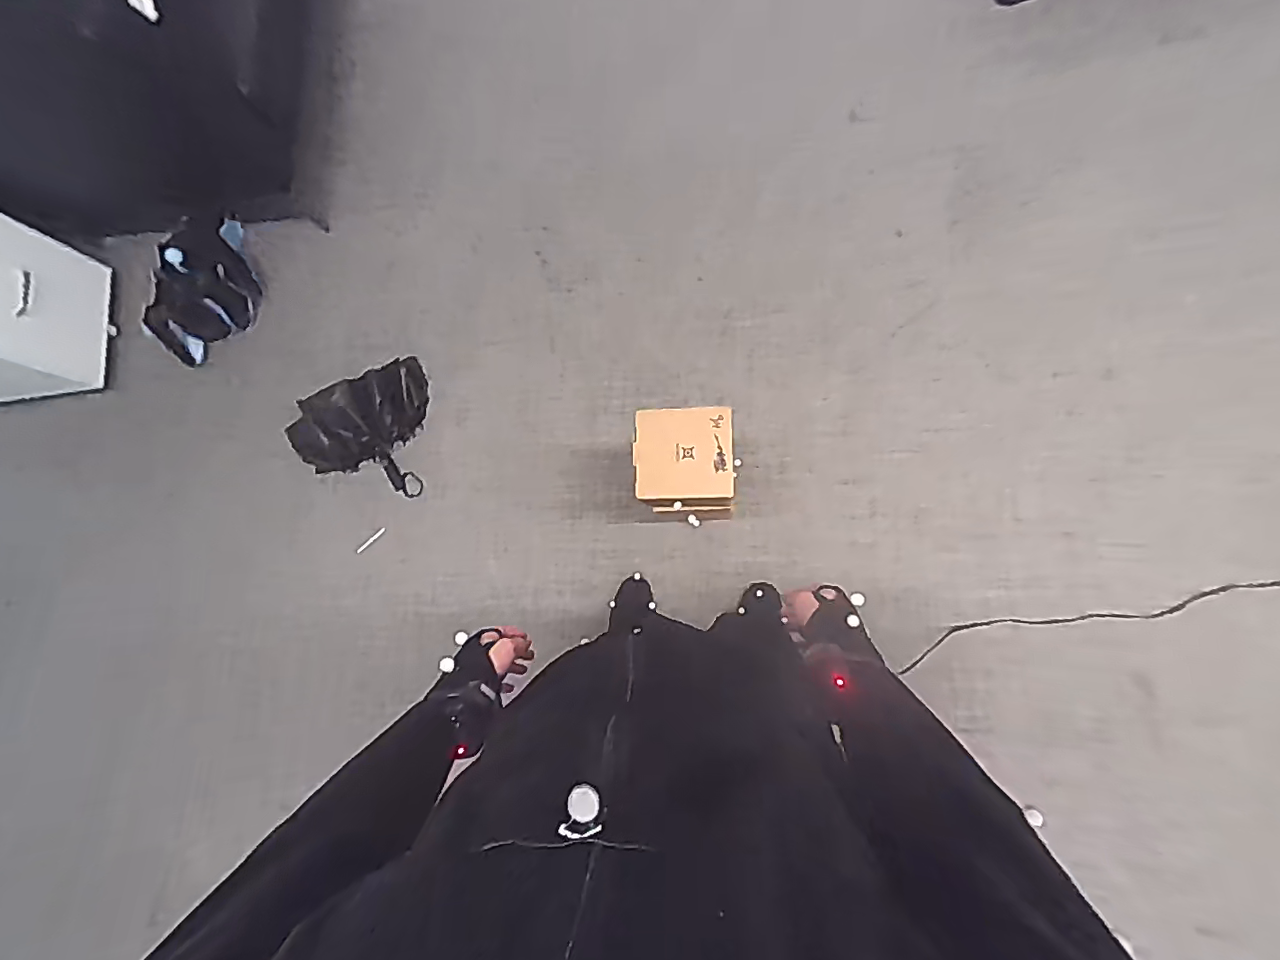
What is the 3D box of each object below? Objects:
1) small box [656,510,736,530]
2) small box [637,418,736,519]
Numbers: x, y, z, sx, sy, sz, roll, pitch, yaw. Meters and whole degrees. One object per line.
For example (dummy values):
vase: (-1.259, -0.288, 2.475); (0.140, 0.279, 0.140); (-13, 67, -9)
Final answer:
small box: (0.123, 0.015, 1.199); (0.168, 0.176, 0.179); (-4, 80, 8)
small box: (0.094, -0.014, 1.040); (0.179, 0.176, 0.168); (-2, 81, 9)
